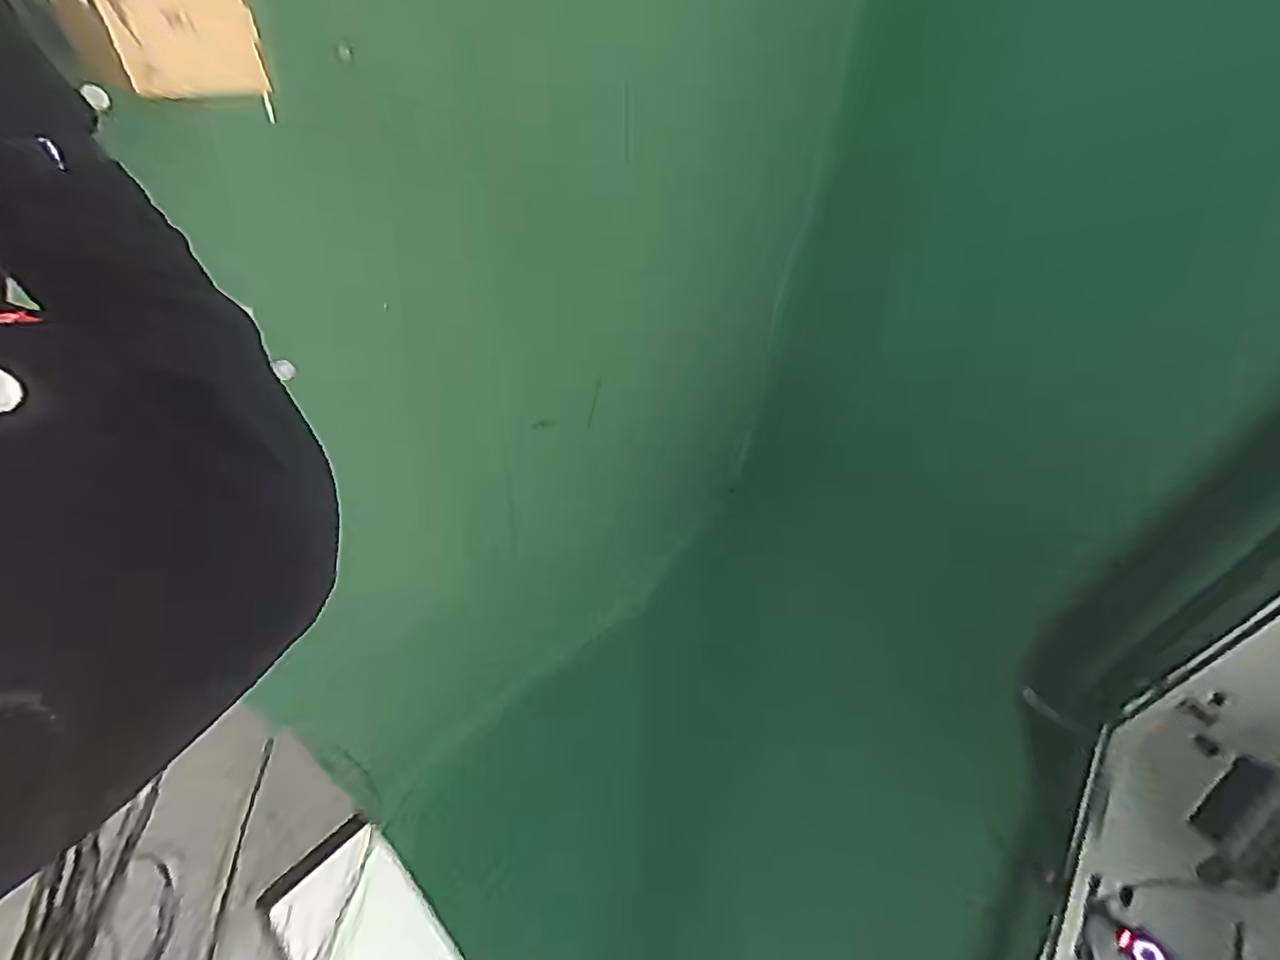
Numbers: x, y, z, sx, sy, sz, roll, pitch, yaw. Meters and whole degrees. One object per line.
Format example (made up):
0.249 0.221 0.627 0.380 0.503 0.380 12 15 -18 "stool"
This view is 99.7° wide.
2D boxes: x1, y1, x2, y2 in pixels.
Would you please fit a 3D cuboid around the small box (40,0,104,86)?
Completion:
-0.798 -0.723 0.845 0.179 0.176 0.168 -33 141 -37 "small box"

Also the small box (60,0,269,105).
-0.690 -0.653 0.779 0.179 0.176 0.168 -35 143 -37 "small box"
